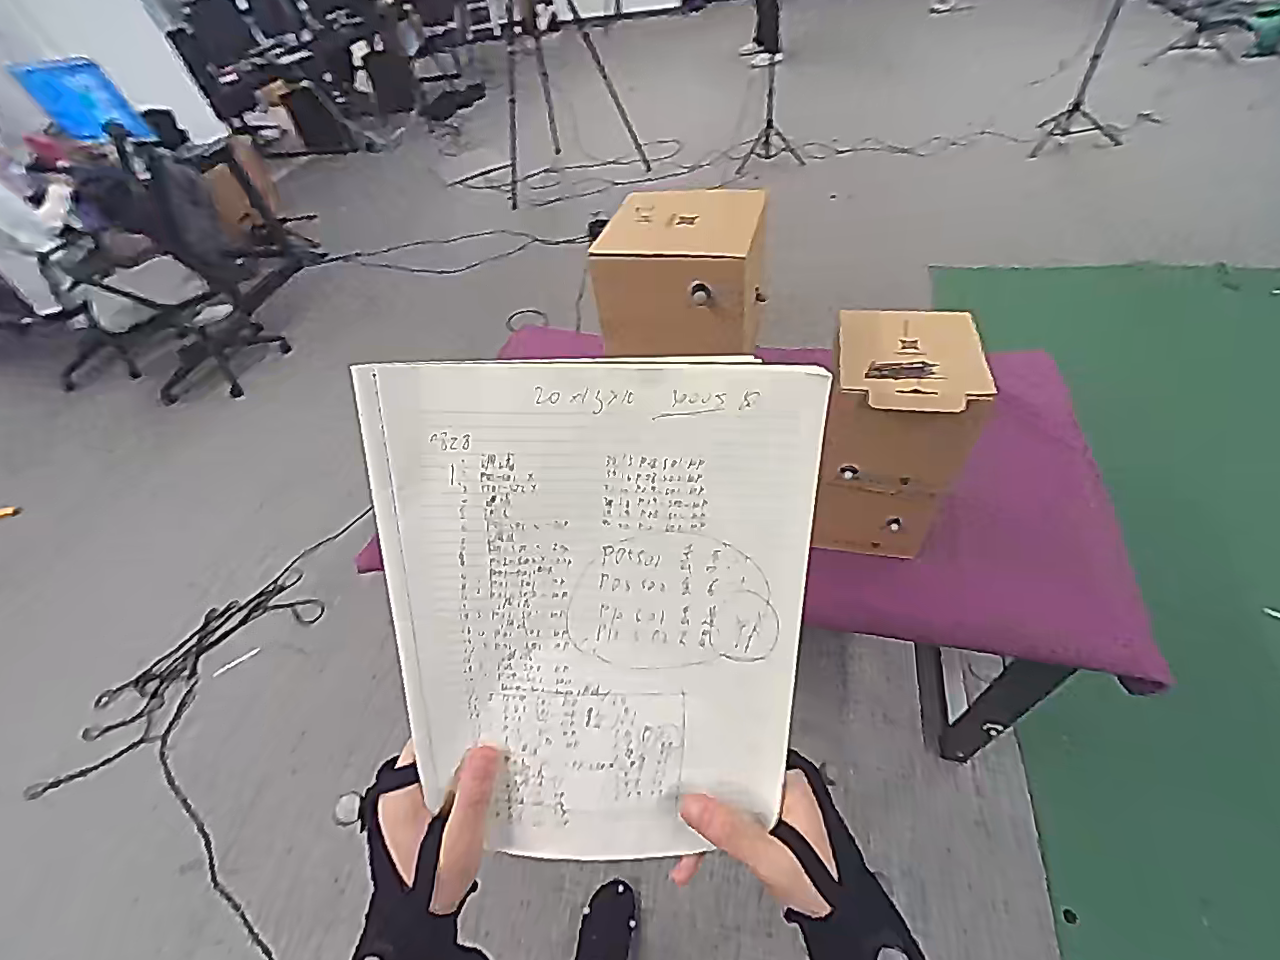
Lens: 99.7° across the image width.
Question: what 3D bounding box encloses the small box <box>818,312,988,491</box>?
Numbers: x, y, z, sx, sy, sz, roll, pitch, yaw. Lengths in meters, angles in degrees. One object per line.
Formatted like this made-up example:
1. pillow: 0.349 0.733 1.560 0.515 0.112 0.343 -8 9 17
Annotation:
1. small box: 0.338 -0.105 0.730 0.168 0.176 0.179 6 49 13

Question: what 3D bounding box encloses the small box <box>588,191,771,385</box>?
1. small box: 0.058 -0.235 0.668 0.179 0.176 0.168 8 49 17

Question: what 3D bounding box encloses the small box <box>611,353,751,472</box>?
1. small box: 0.071 -0.131 0.796 0.168 0.176 0.179 6 49 15

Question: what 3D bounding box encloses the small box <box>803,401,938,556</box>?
1. small box: 0.354 0.000 0.855 0.168 0.176 0.179 7 50 14
